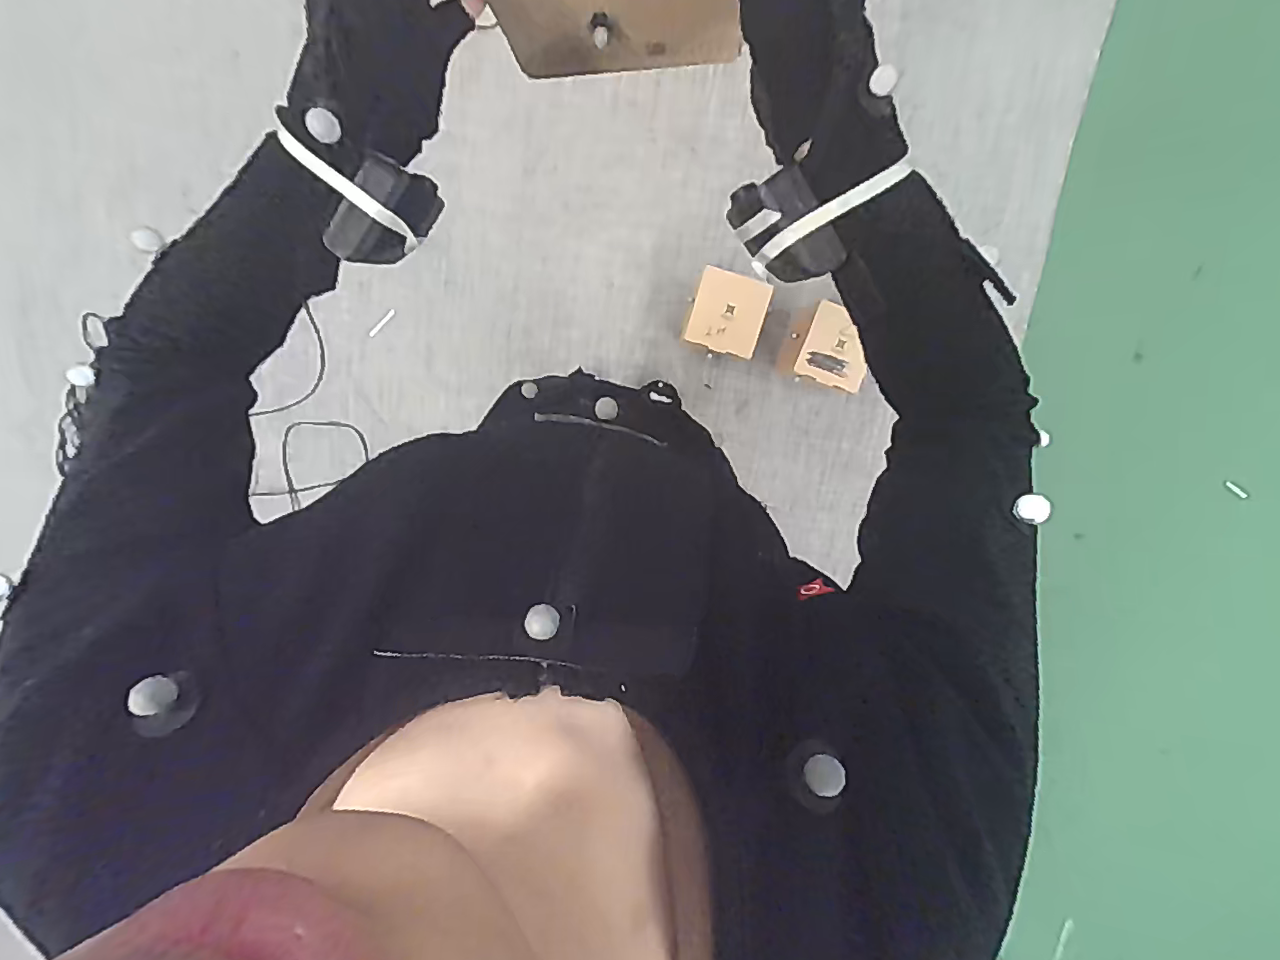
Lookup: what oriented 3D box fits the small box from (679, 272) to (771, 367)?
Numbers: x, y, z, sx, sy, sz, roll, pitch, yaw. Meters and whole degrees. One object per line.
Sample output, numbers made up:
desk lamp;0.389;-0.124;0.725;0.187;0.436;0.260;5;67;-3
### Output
small box;0.199;-0.384;1.322;0.168;0.176;0.179;17;100;-2
